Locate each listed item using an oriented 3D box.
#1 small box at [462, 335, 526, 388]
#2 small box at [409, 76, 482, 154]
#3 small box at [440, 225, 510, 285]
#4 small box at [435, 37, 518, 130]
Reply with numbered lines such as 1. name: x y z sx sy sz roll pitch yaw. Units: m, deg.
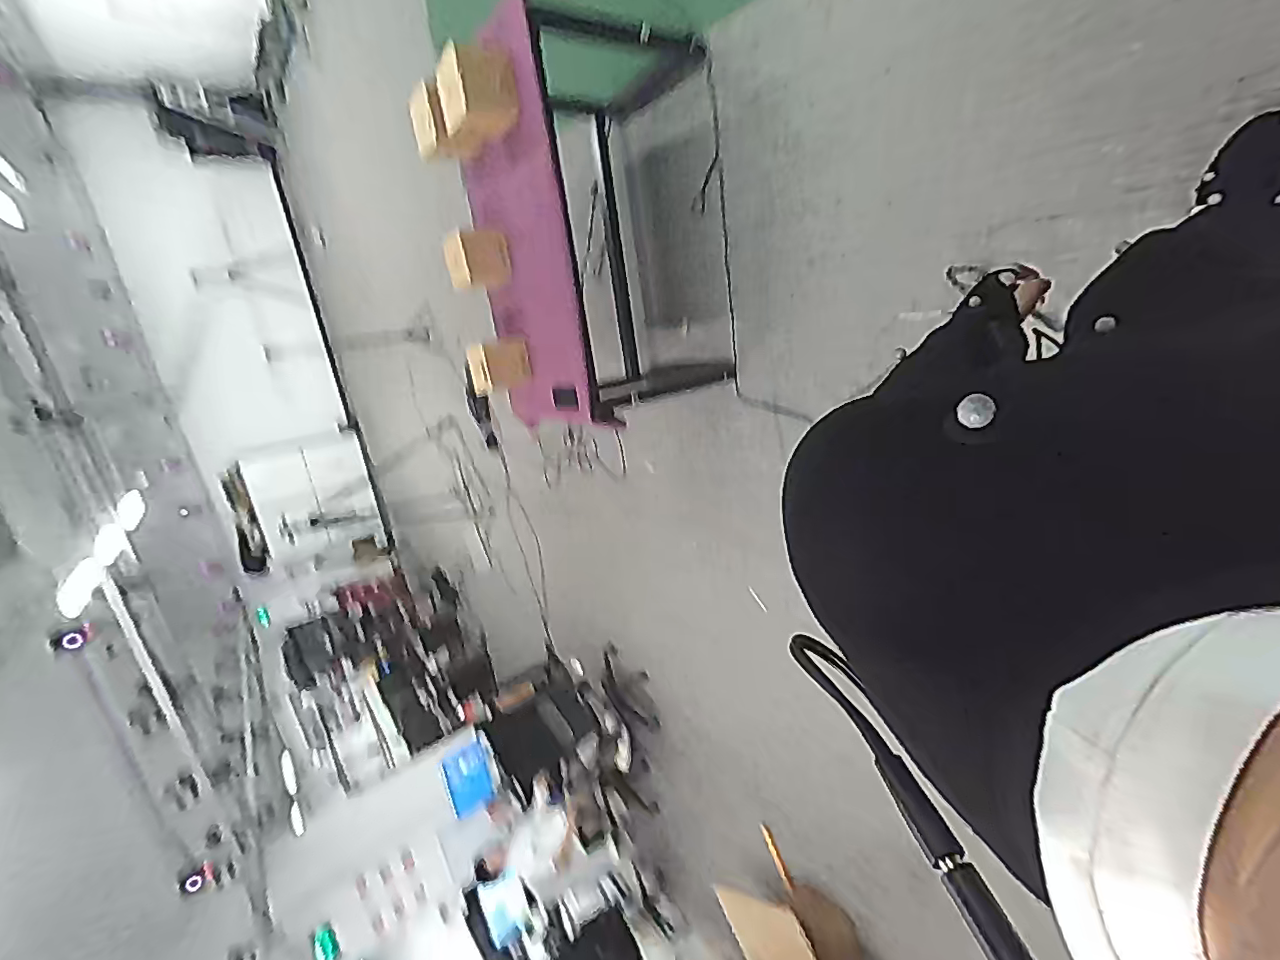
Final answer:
1. small box: -0.538 -0.442 2.019 0.179 0.176 0.168 9 112 53
2. small box: -0.644 -1.203 1.797 0.179 0.176 0.168 11 116 52
3. small box: -0.580 -0.794 1.910 0.179 0.176 0.168 9 114 52
4. small box: -0.477 -1.150 1.585 0.179 0.176 0.168 13 118 53
